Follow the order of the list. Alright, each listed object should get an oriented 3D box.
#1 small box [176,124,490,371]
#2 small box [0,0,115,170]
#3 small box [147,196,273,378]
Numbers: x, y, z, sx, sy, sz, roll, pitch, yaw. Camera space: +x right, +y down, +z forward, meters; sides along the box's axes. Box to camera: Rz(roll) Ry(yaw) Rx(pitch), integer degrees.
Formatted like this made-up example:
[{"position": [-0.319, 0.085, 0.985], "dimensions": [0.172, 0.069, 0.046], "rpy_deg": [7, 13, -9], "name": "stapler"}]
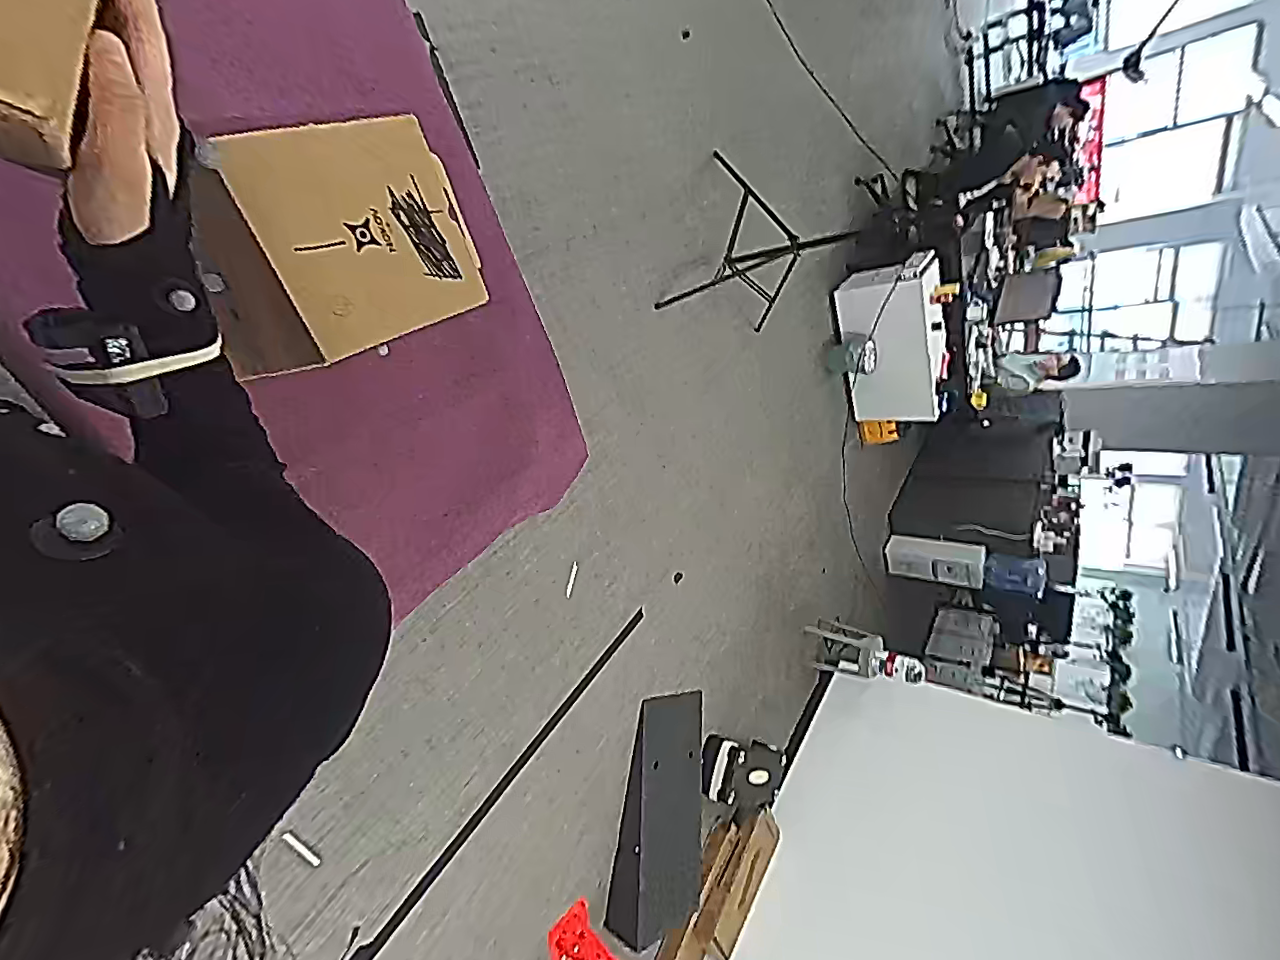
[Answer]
[{"position": [-0.285, -0.213, 0.514], "dimensions": [0.179, 0.176, 0.168], "rpy_deg": [-41, 123, -39], "name": "small box"}, {"position": [-0.291, -0.236, 0.183], "dimensions": [0.168, 0.176, 0.179], "rpy_deg": [9, 98, -48], "name": "small box"}, {"position": [-0.413, -0.224, 0.617], "dimensions": [0.179, 0.176, 0.168], "rpy_deg": [-41, 124, -40], "name": "small box"}]
